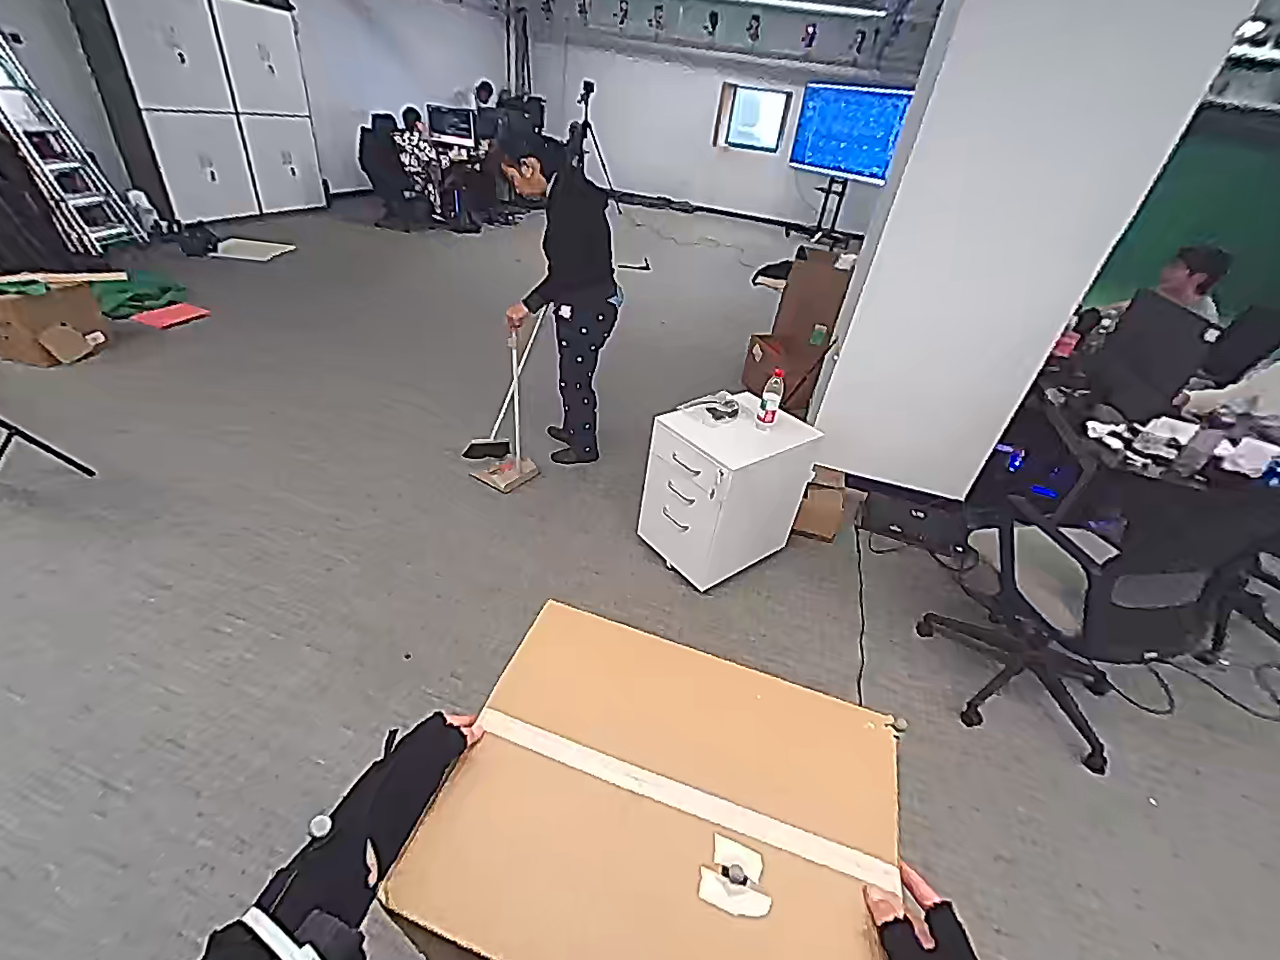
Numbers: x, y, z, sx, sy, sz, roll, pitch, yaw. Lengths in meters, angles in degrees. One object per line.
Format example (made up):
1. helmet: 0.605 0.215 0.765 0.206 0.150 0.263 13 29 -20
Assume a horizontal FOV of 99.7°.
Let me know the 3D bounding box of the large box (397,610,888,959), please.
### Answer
1. large box: 0.016 0.411 0.611 0.408 0.320 0.320 16 42 11
